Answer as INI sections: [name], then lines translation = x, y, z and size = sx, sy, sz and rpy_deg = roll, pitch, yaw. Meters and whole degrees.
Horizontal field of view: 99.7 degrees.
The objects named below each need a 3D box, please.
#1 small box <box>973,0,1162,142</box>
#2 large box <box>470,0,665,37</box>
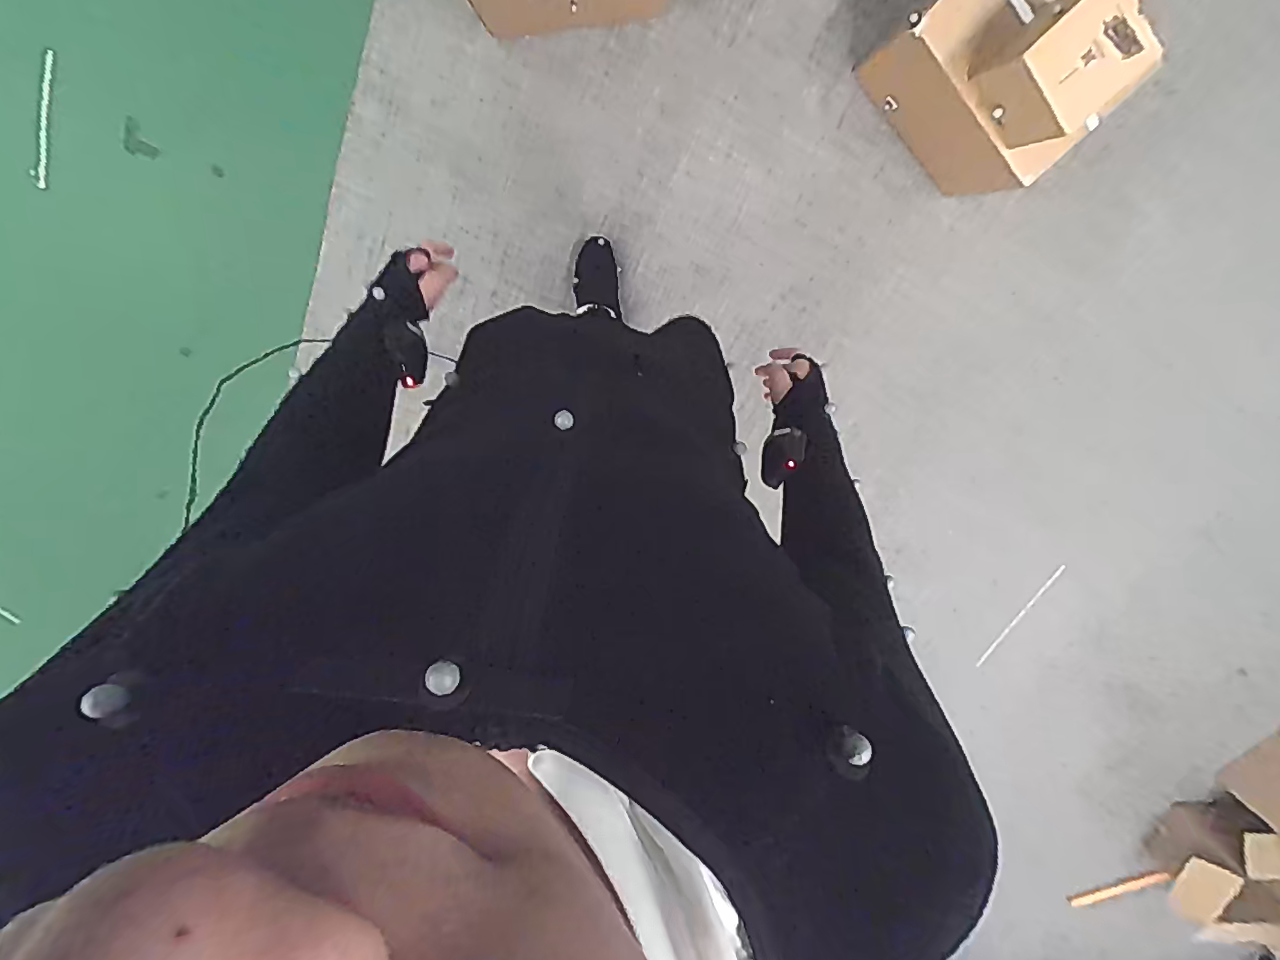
[small box]
translation = 0.753, -0.750, 0.971
size = 0.179, 0.176, 0.168
rpy_deg = -41, 108, 17
[large box]
translation = -0.160, -1.132, 1.053
size = 0.408, 0.320, 0.320
rpy_deg = -7, 112, 3
